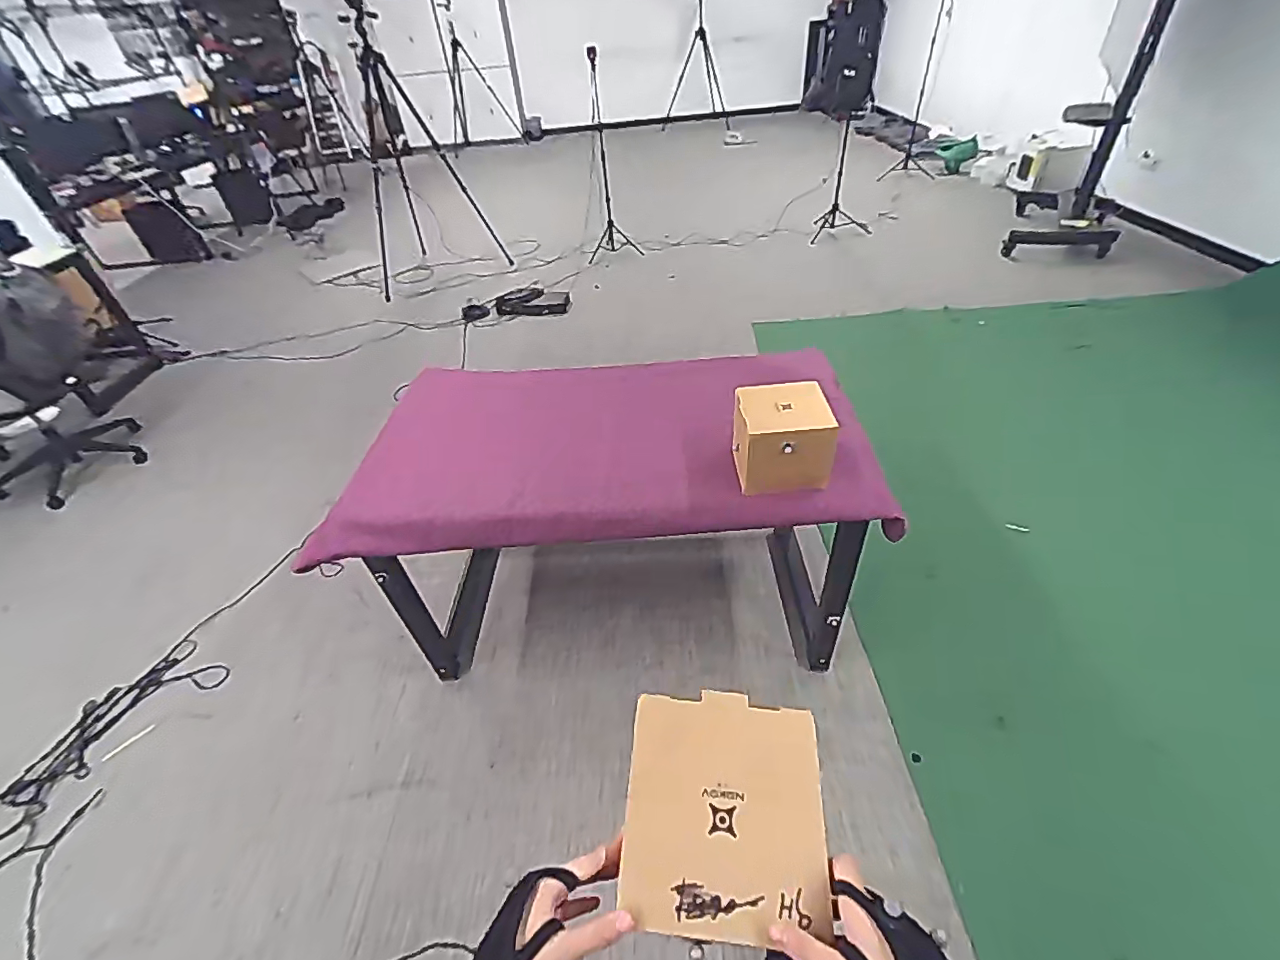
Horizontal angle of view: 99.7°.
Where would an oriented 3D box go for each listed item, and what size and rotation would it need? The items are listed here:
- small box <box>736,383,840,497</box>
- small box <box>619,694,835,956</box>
[{"bbox_3d":[0.303,-0.082,1.146,0.179,0.176,0.168,-6,42,4],"label":"small box"},{"bbox_3d":[0.076,0.328,0.519,0.168,0.176,0.179,3,51,7],"label":"small box"}]
